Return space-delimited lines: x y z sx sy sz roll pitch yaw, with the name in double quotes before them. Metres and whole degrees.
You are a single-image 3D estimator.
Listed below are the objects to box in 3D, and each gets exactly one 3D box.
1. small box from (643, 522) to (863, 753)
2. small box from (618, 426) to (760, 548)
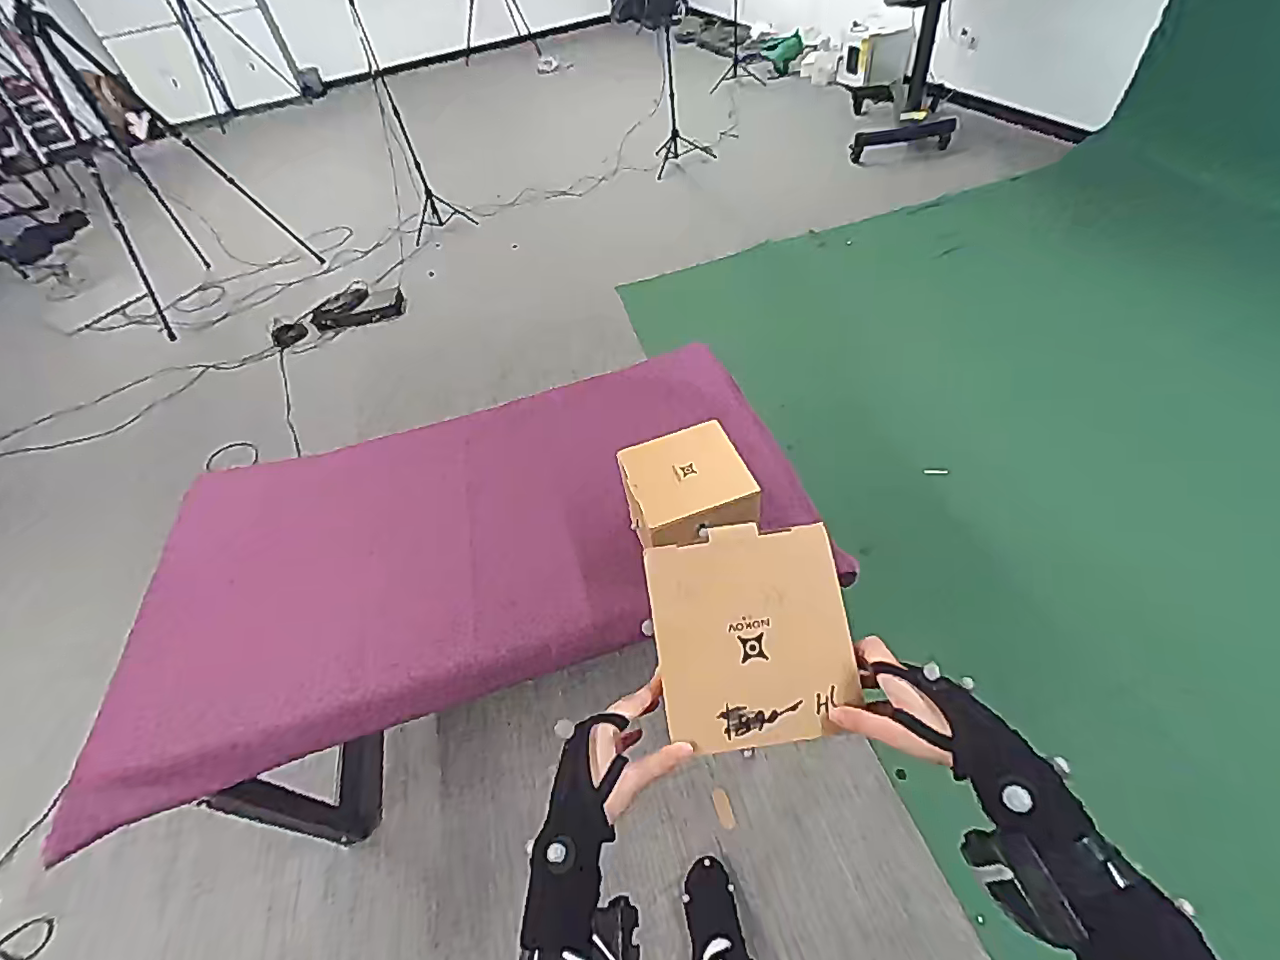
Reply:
"small box" 0.097 0.150 0.543 0.168 0.176 0.179 -9 78 2
"small box" 0.081 0.047 0.884 0.179 0.176 0.168 -21 50 -5
